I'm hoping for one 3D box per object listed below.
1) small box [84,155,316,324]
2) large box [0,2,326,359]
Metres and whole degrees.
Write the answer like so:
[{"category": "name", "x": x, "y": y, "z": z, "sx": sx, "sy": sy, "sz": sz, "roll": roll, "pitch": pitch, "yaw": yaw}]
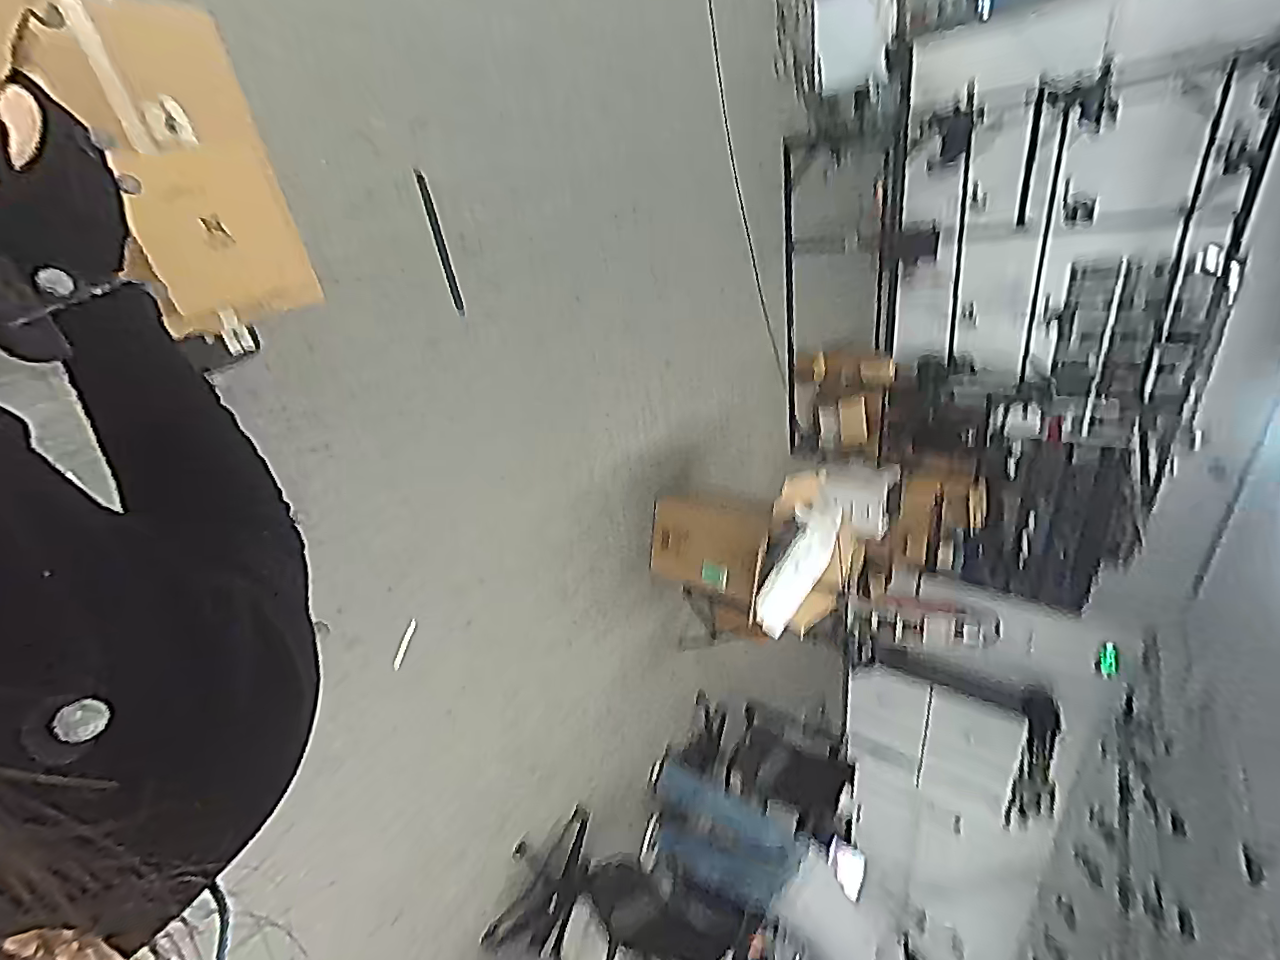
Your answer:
[{"category": "small box", "x": -0.582, "y": -0.317, "z": 0.723, "sx": 0.168, "sy": 0.176, "sz": 0.179, "roll": -38, "pitch": 127, "yaw": -41}, {"category": "large box", "x": -0.783, "y": -0.430, "z": 0.839, "sx": 0.320, "sy": 0.320, "sz": 0.408, "roll": -38, "pitch": 127, "yaw": -42}]
